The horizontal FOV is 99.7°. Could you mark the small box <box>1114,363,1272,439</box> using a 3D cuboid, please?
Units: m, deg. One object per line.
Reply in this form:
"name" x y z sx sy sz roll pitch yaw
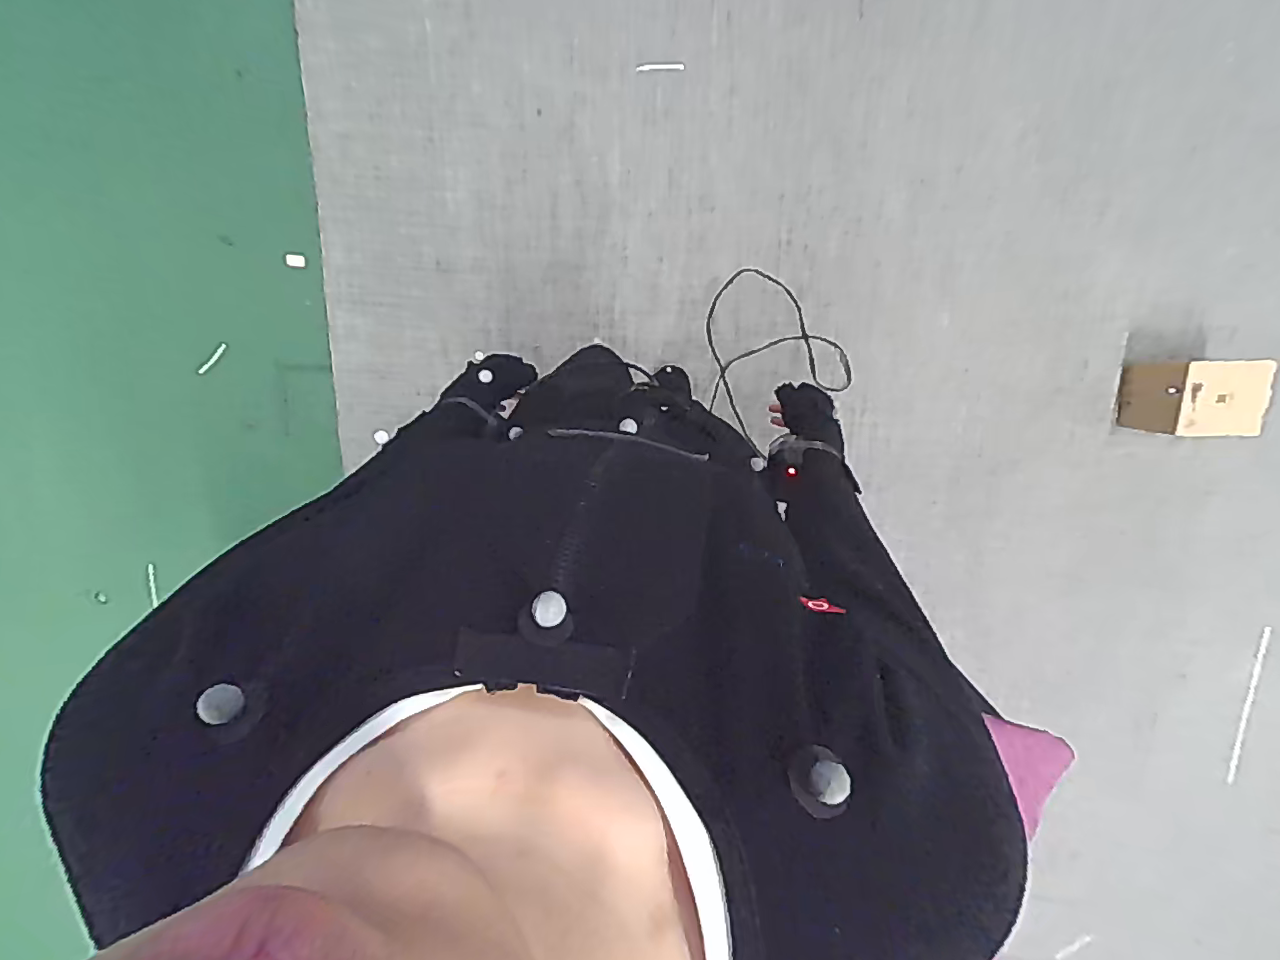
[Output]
"small box" 1.274 -0.188 1.259 0.179 0.176 0.168 1 102 3
